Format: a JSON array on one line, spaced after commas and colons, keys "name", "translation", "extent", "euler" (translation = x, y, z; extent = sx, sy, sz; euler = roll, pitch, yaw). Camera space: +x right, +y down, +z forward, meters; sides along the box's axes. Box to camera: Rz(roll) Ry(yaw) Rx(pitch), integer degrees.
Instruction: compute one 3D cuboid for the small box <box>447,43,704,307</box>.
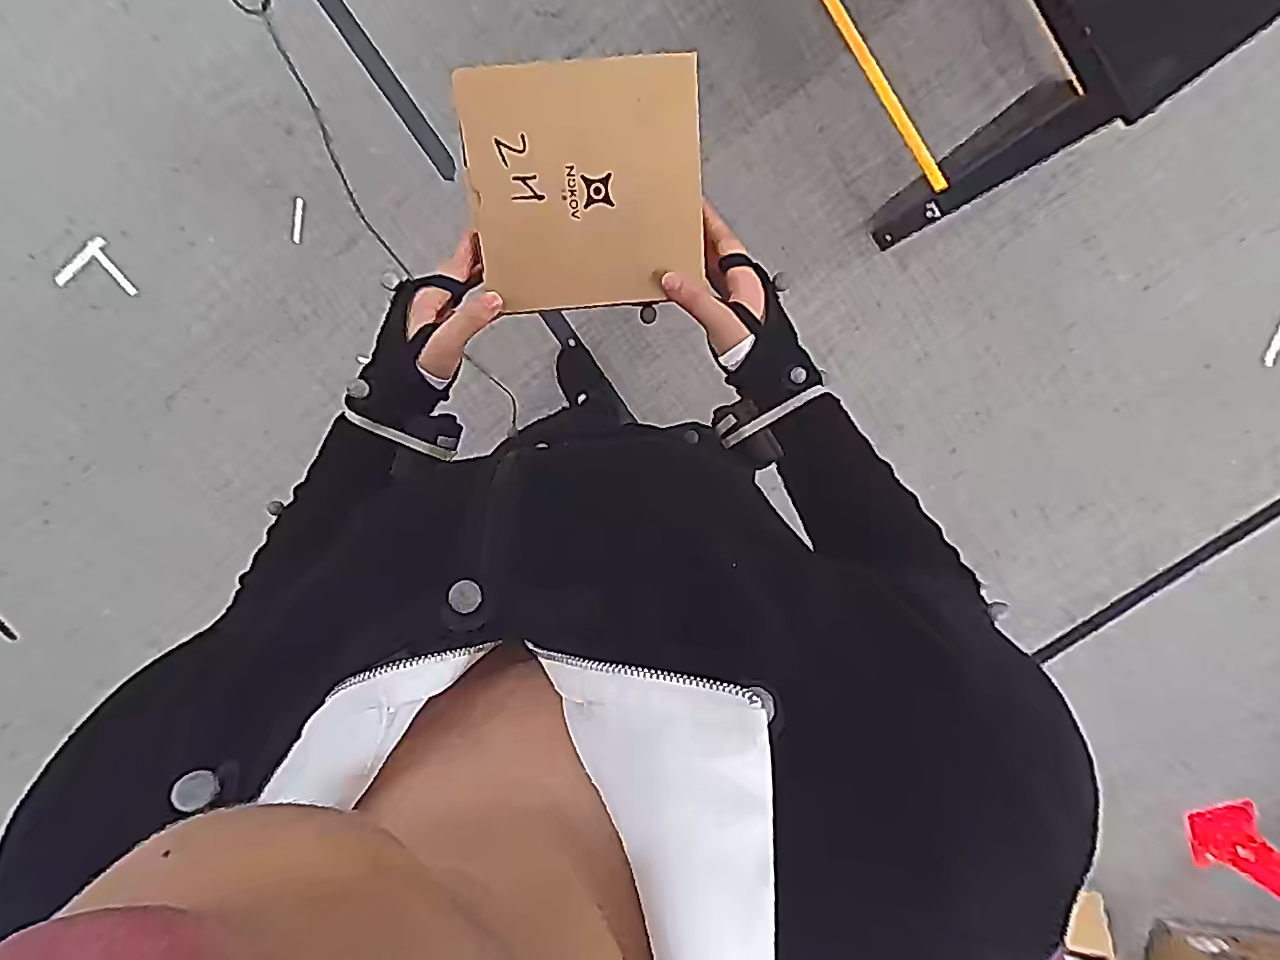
[{"name": "small box", "translation": [-0.046, -0.243, 0.469], "extent": [0.179, 0.176, 0.168], "euler": [-5, 108, -2]}]
